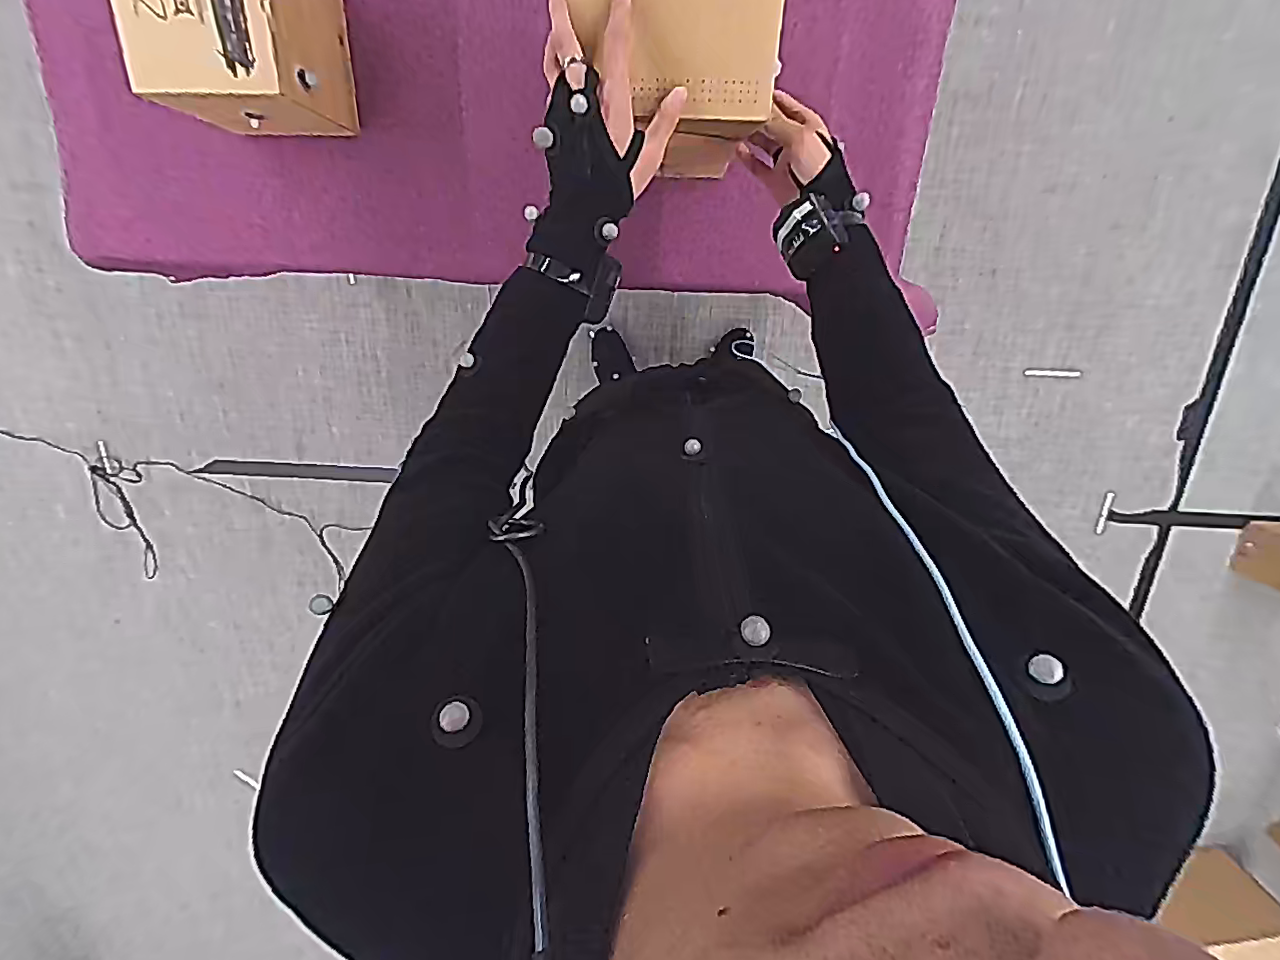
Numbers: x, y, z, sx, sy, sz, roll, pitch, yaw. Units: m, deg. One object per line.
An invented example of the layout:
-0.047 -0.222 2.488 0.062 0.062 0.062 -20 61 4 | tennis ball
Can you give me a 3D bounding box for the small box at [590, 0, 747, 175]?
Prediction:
0.032 -0.486 0.658 0.168 0.176 0.179 3 109 1 | small box
